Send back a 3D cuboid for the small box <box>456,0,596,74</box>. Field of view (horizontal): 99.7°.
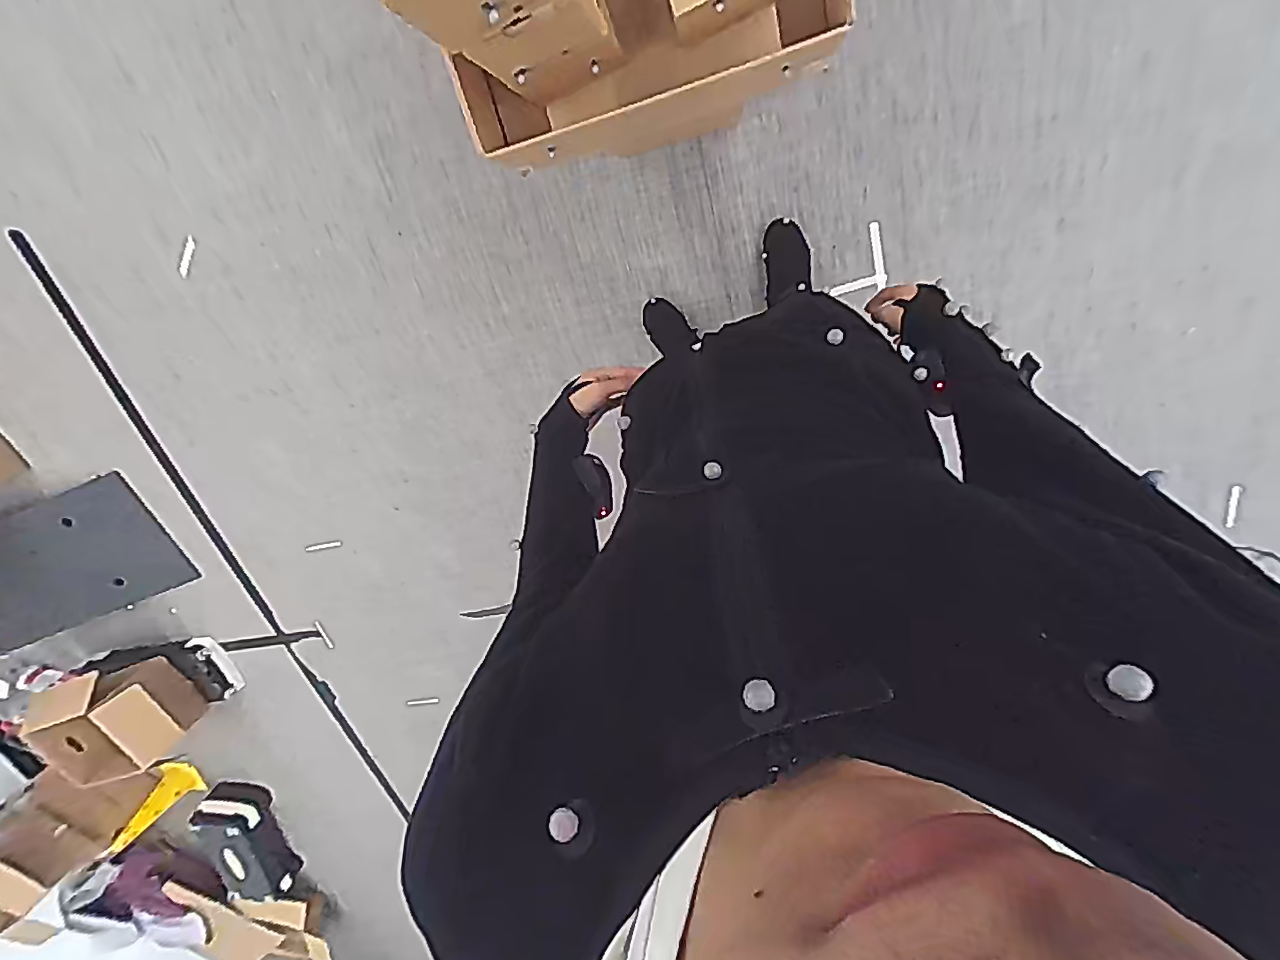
[{"bbox_3d":[-0.172,-0.676,0.717,0.168,0.176,0.179,-14,110,14],"label":"small box"}]

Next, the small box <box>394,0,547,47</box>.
[{"bbox_3d":[-0.209,-0.612,0.568,0.168,0.176,0.179,-16,110,15],"label":"small box"}]
